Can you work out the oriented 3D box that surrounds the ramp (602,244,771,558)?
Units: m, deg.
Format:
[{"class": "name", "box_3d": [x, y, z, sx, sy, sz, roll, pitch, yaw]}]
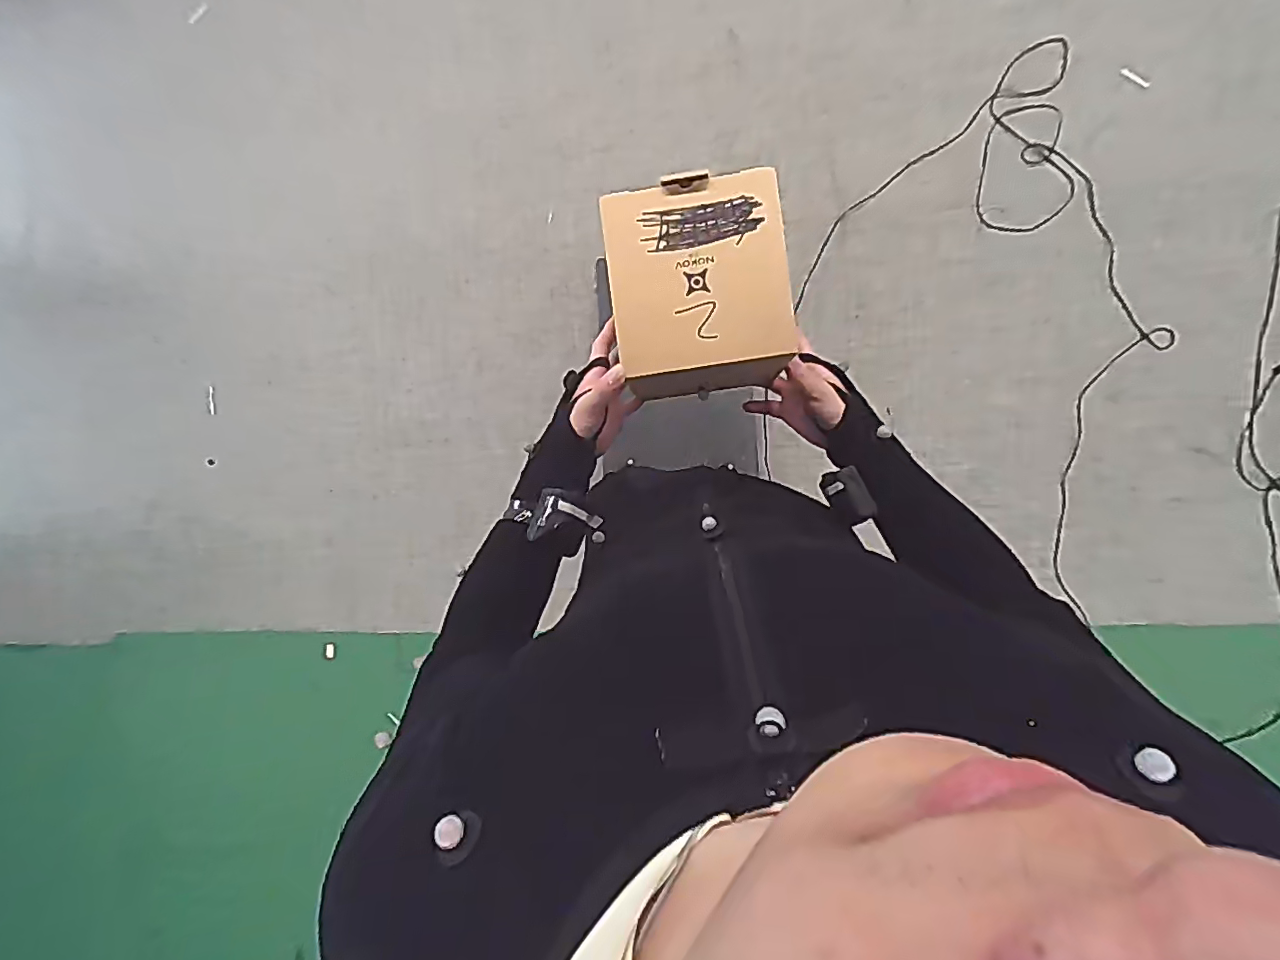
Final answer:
[{"class": "ramp", "box_3d": [0.128, -0.262, 1.711, 0.509, 0.206, 0.991, -5, 91, 8]}]
